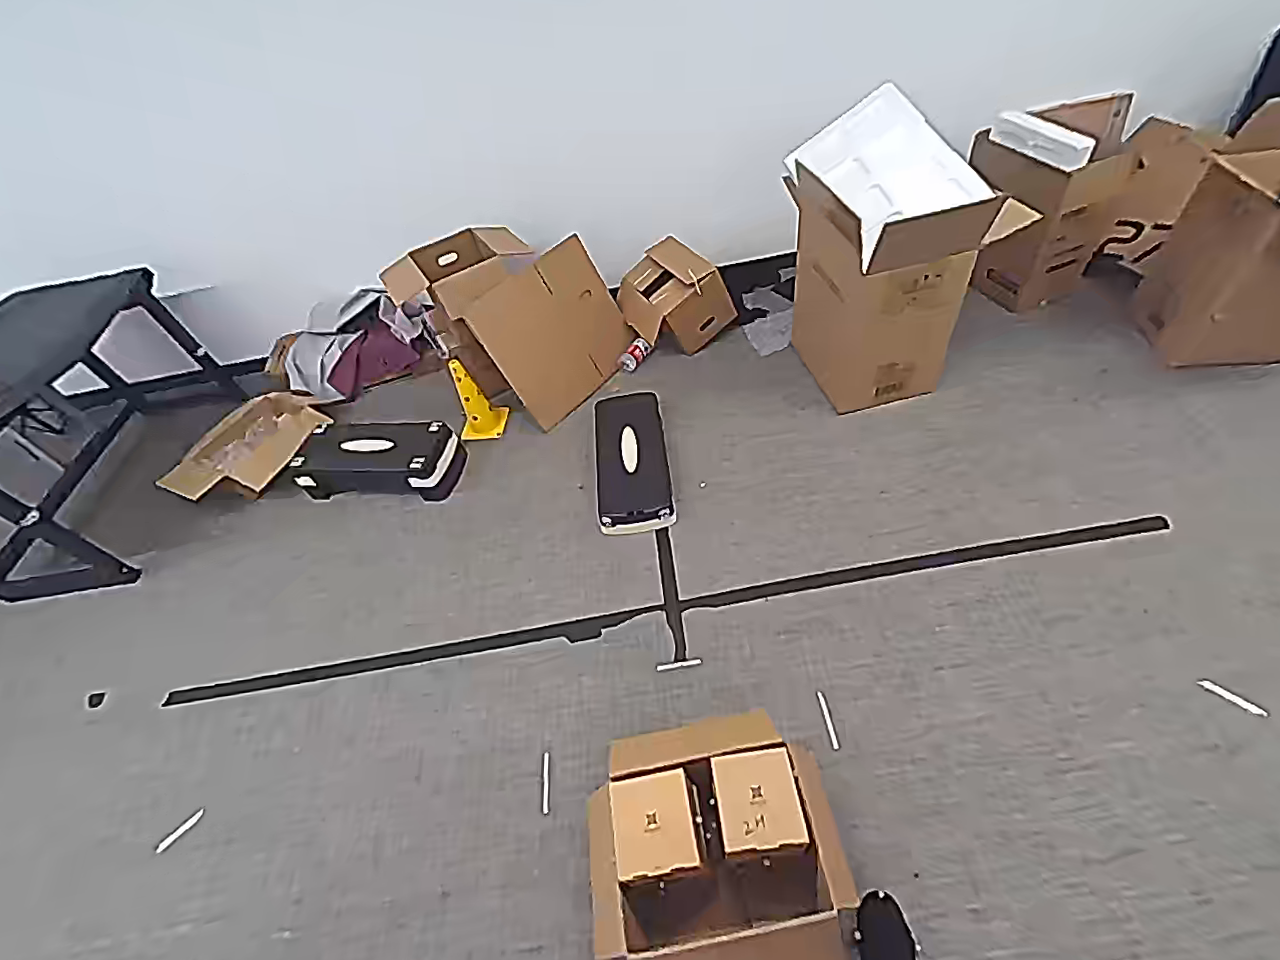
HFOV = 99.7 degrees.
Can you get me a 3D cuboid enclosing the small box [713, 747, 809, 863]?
[{"bbox_3d":[0.251,0.695,1.154,0.168,0.176,0.179,-10,49,4],"label":"small box"}]
